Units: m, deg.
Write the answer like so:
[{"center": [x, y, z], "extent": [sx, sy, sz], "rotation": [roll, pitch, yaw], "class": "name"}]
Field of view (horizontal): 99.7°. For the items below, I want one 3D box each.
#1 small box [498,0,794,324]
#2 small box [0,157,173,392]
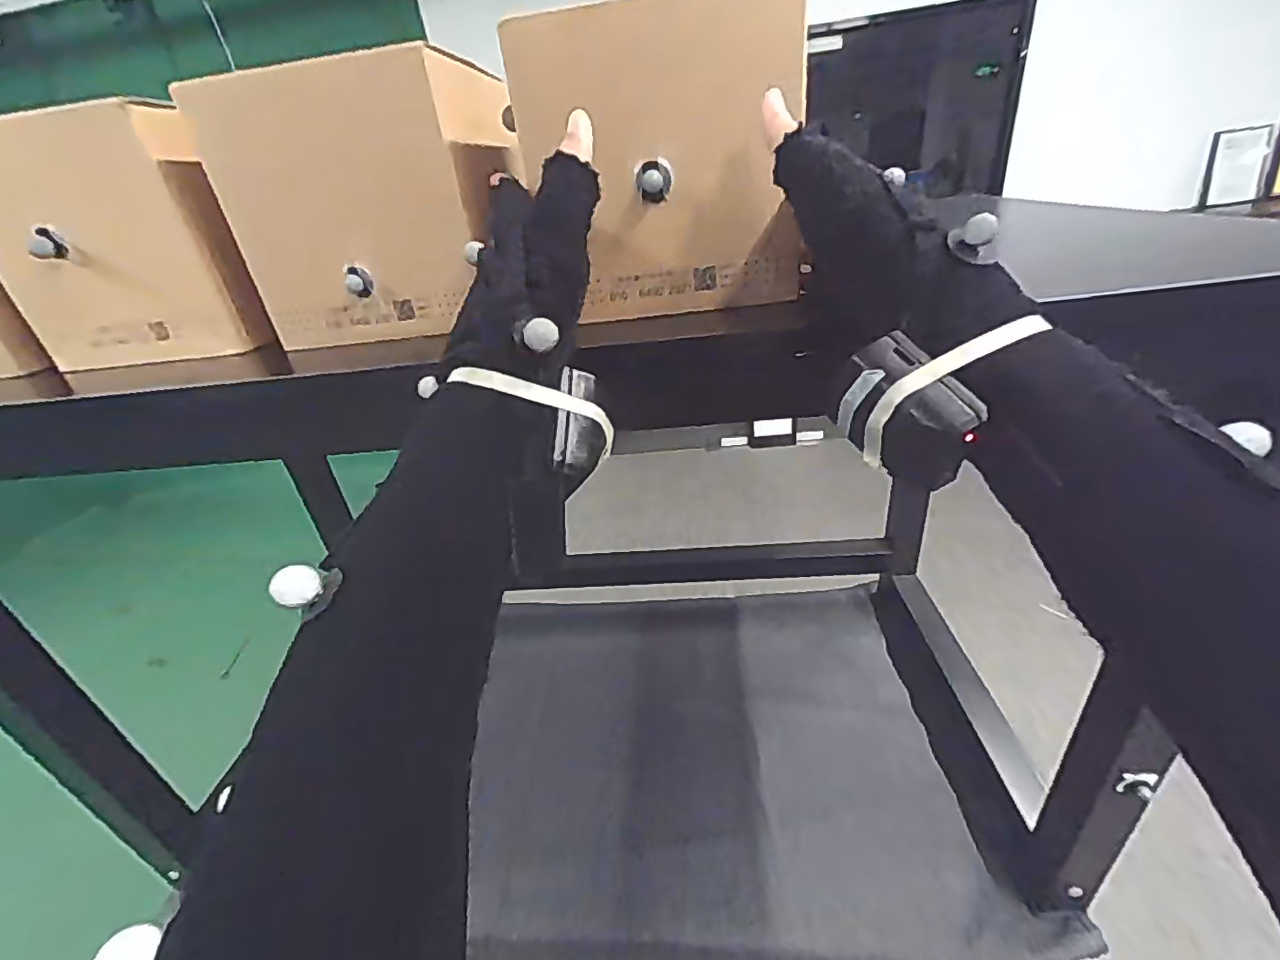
[{"center": [0.017, -0.217, 0.397], "extent": [0.168, 0.176, 0.179], "rotation": [-4, 29, 6], "class": "small box"}, {"center": [-0.582, -0.183, 0.487], "extent": [0.168, 0.176, 0.179], "rotation": [-5, 30, 6], "class": "small box"}]
